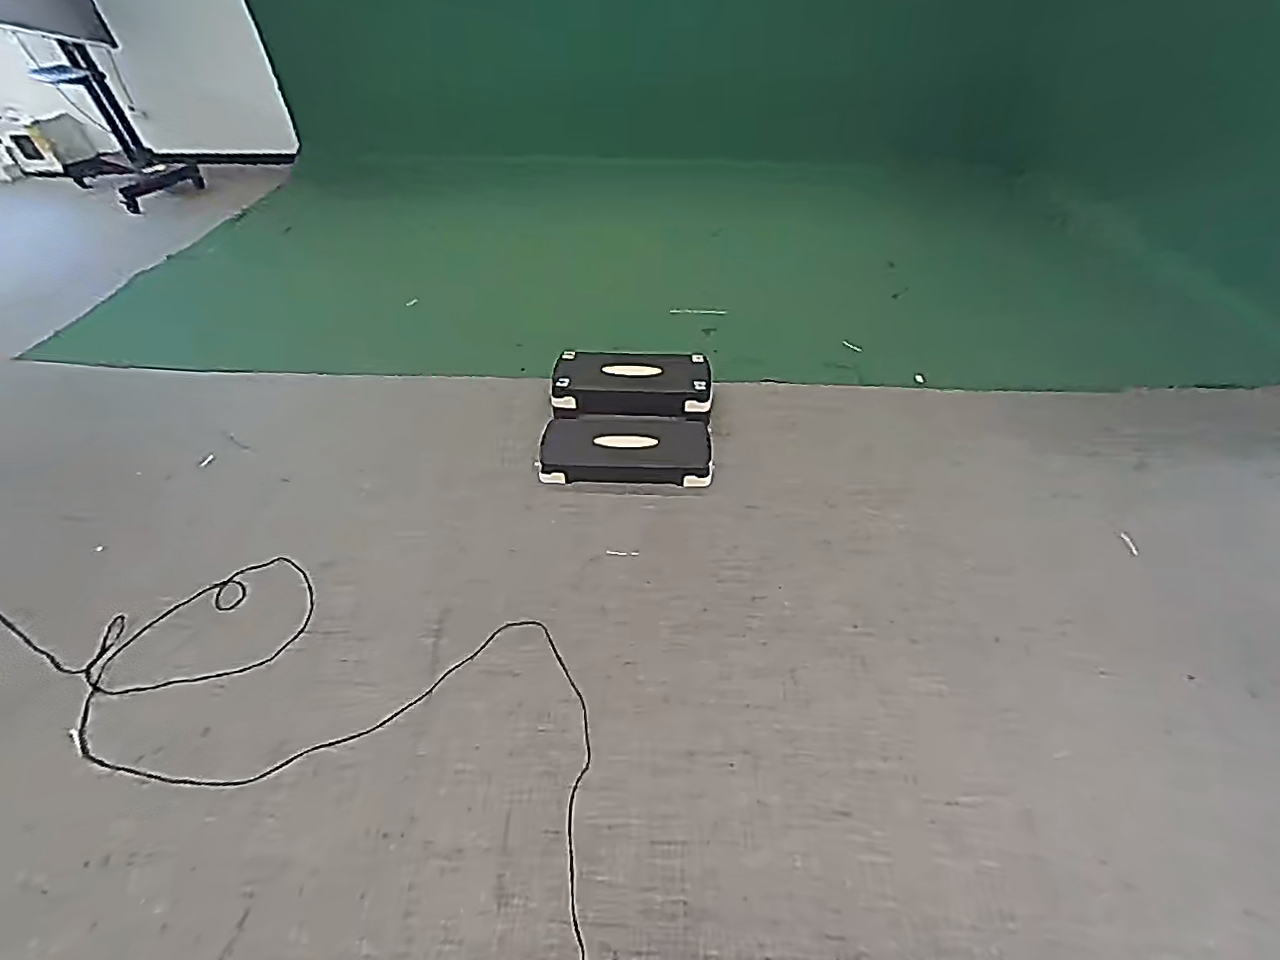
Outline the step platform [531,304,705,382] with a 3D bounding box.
[{"bbox_3d":[-0.084,-0.555,2.203,0.684,0.204,0.286,1,46,2],"label":"step platform"}]
